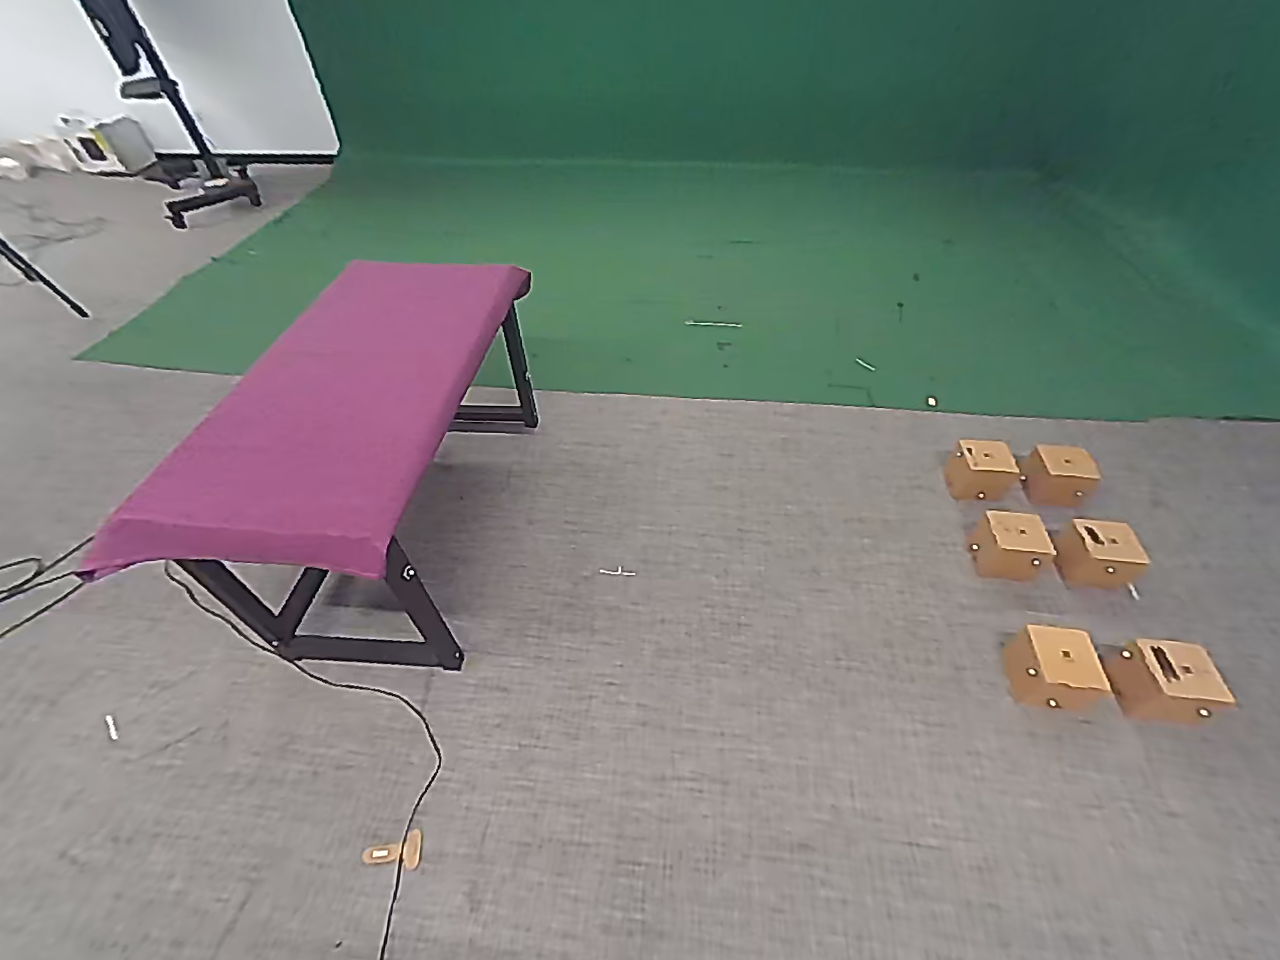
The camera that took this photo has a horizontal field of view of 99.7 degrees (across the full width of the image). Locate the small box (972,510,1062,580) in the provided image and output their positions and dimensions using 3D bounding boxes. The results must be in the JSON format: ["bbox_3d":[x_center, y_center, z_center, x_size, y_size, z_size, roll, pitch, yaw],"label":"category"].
[{"bbox_3d":[1.275,0.223,1.843,0.179,0.176,0.168,5,47,7],"label":"small box"}]

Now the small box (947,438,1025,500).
[{"bbox_3d":[1.325,-0.039,2.082,0.179,0.176,0.168,4,47,5],"label":"small box"}]

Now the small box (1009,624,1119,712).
[{"bbox_3d":[1.204,0.542,1.555,0.168,0.176,0.179,5,49,7],"label":"small box"}]

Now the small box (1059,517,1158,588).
[{"bbox_3d":[1.550,0.246,1.808,0.179,0.176,0.168,5,48,7],"label":"small box"}]
